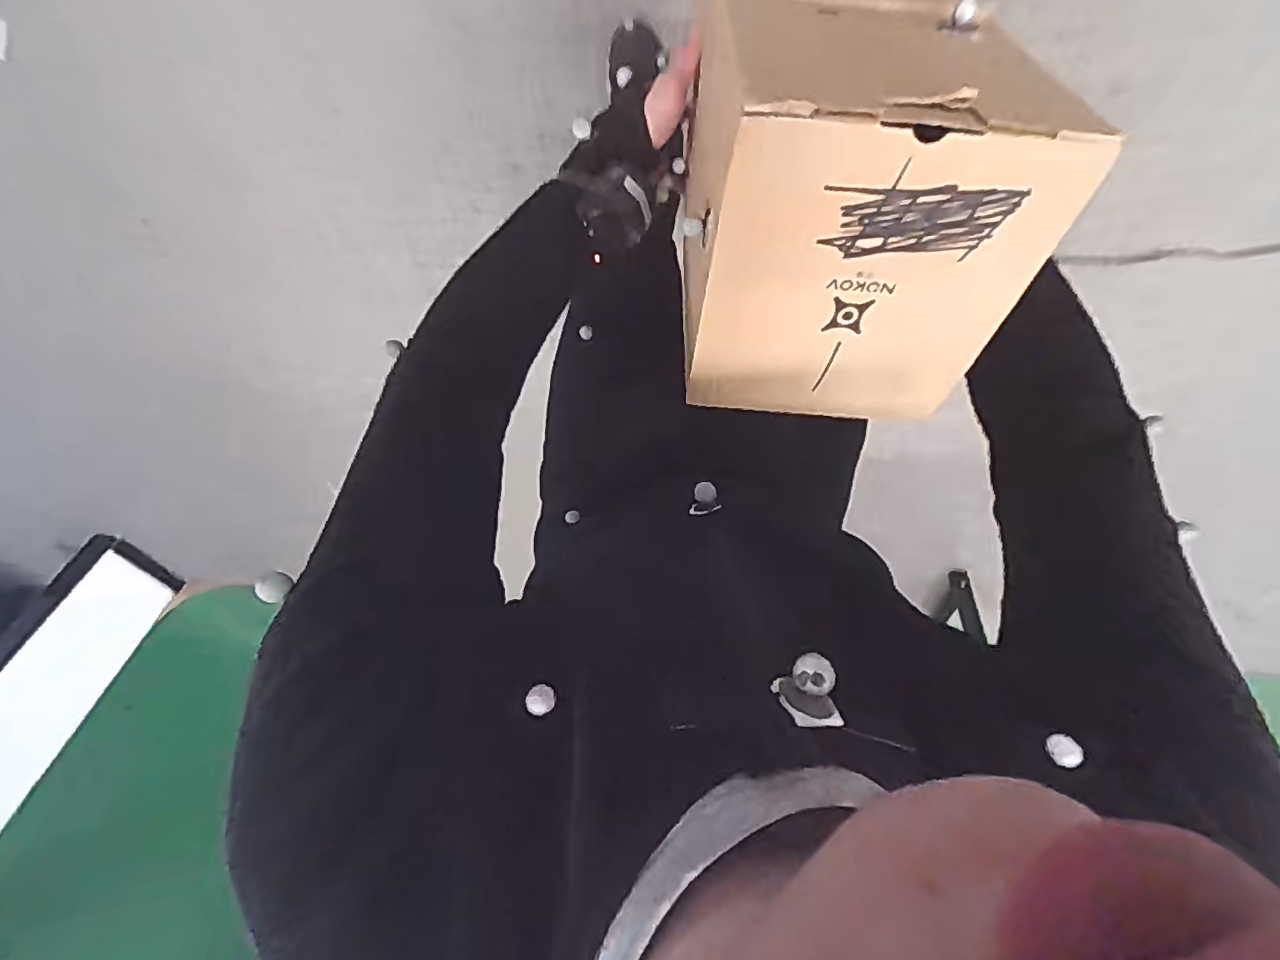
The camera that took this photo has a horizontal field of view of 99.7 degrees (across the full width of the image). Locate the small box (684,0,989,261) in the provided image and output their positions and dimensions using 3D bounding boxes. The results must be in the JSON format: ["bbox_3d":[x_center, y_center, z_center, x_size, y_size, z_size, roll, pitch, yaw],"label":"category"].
[{"bbox_3d":[0.127,-0.287,0.429,0.168,0.176,0.179,4,142,1],"label":"small box"}]

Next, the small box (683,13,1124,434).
[{"bbox_3d":[0.118,-0.153,0.335,0.168,0.176,0.179,5,144,-1],"label":"small box"}]
